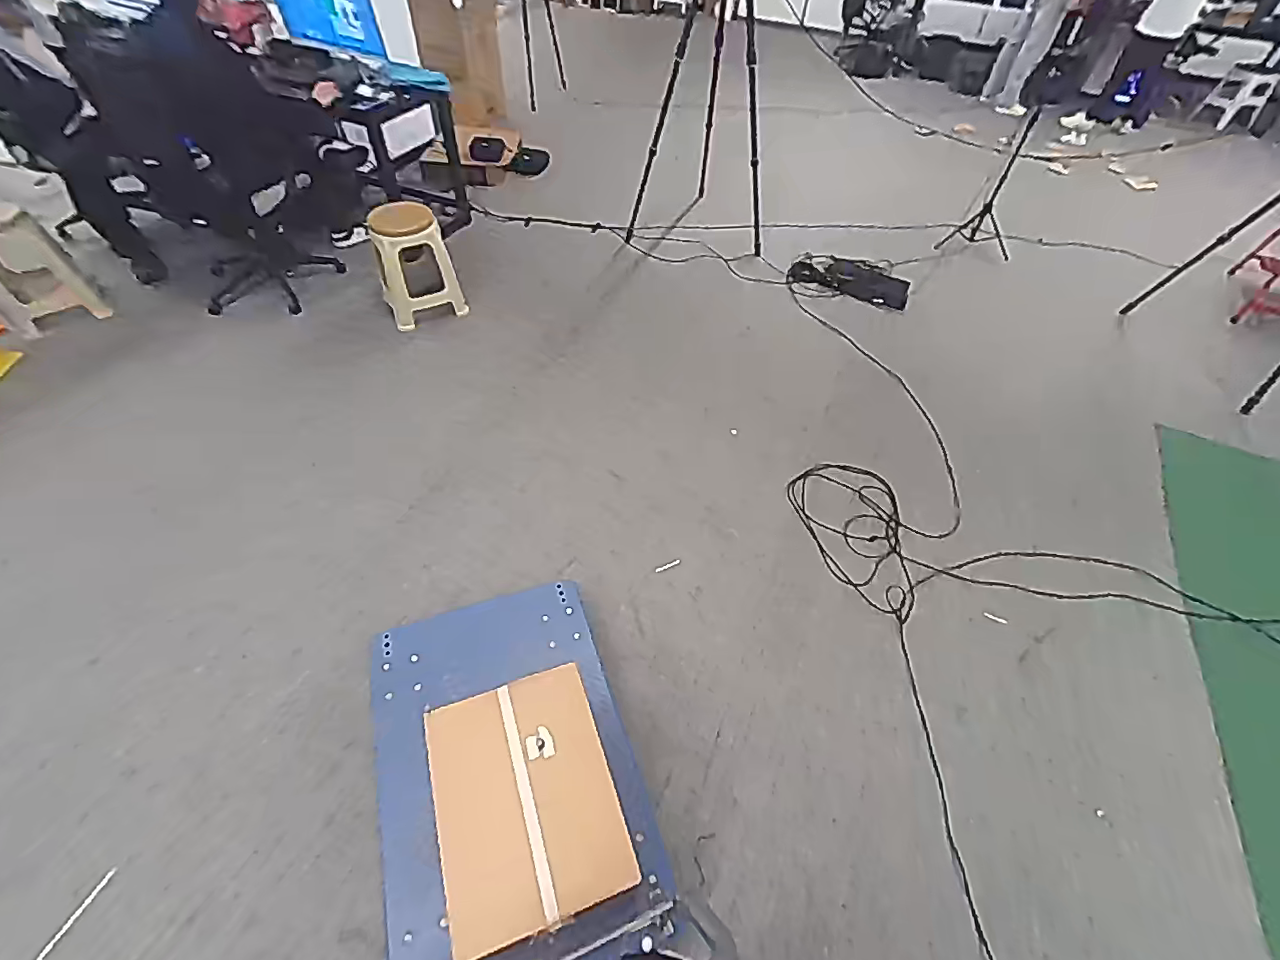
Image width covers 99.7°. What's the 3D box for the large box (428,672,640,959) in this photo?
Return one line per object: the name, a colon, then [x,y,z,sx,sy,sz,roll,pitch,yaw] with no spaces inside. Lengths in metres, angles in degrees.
large box: [-0.215,0.685,1.112,0.320,0.320,0.408,-14,51,-16]
